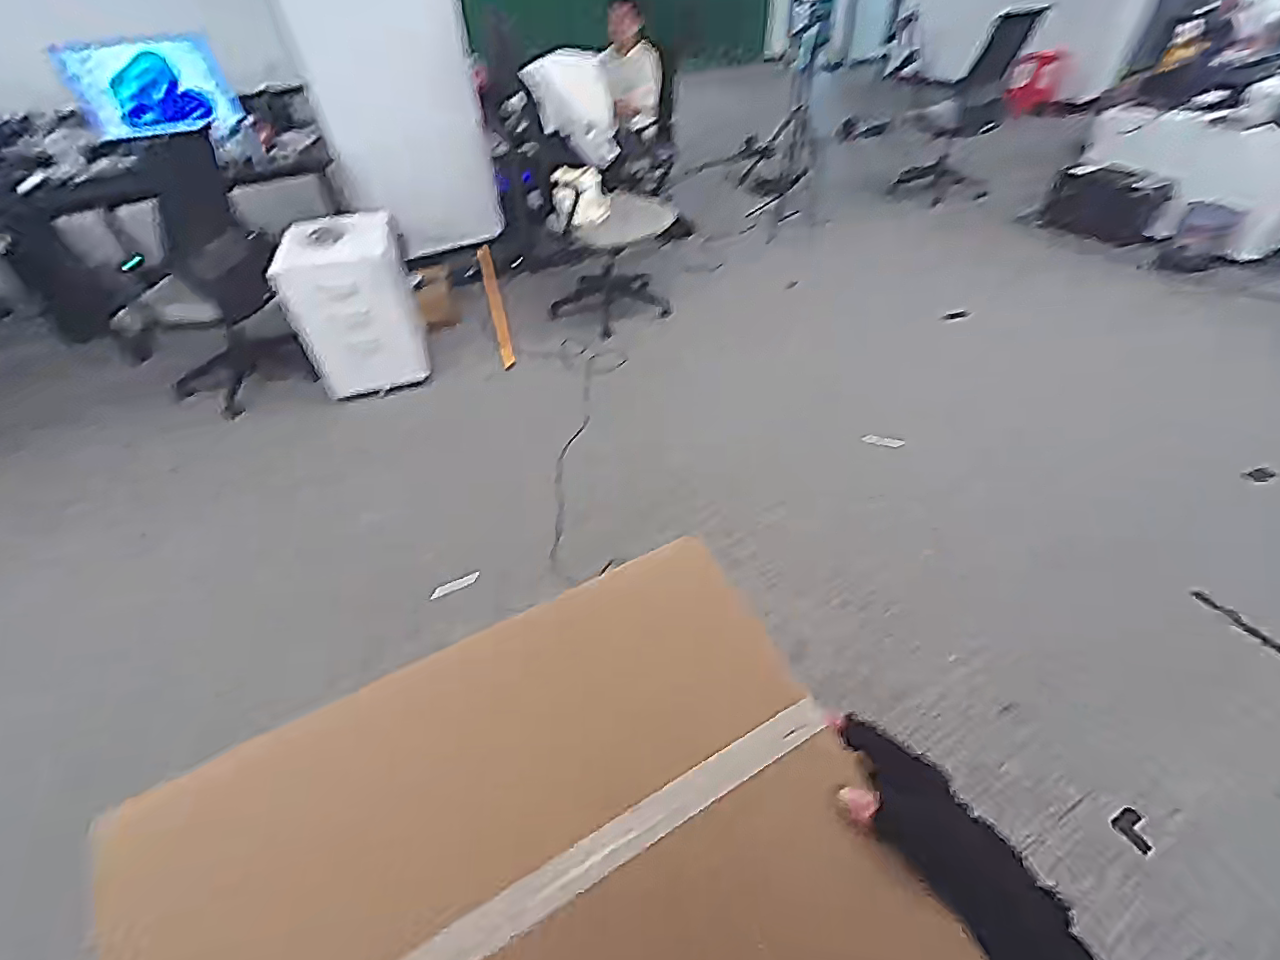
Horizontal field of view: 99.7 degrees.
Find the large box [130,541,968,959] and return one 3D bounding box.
[{"bbox_3d":[-0.066,0.321,0.434,0.408,0.320,0.320,-24,61,-18],"label":"large box"}]
